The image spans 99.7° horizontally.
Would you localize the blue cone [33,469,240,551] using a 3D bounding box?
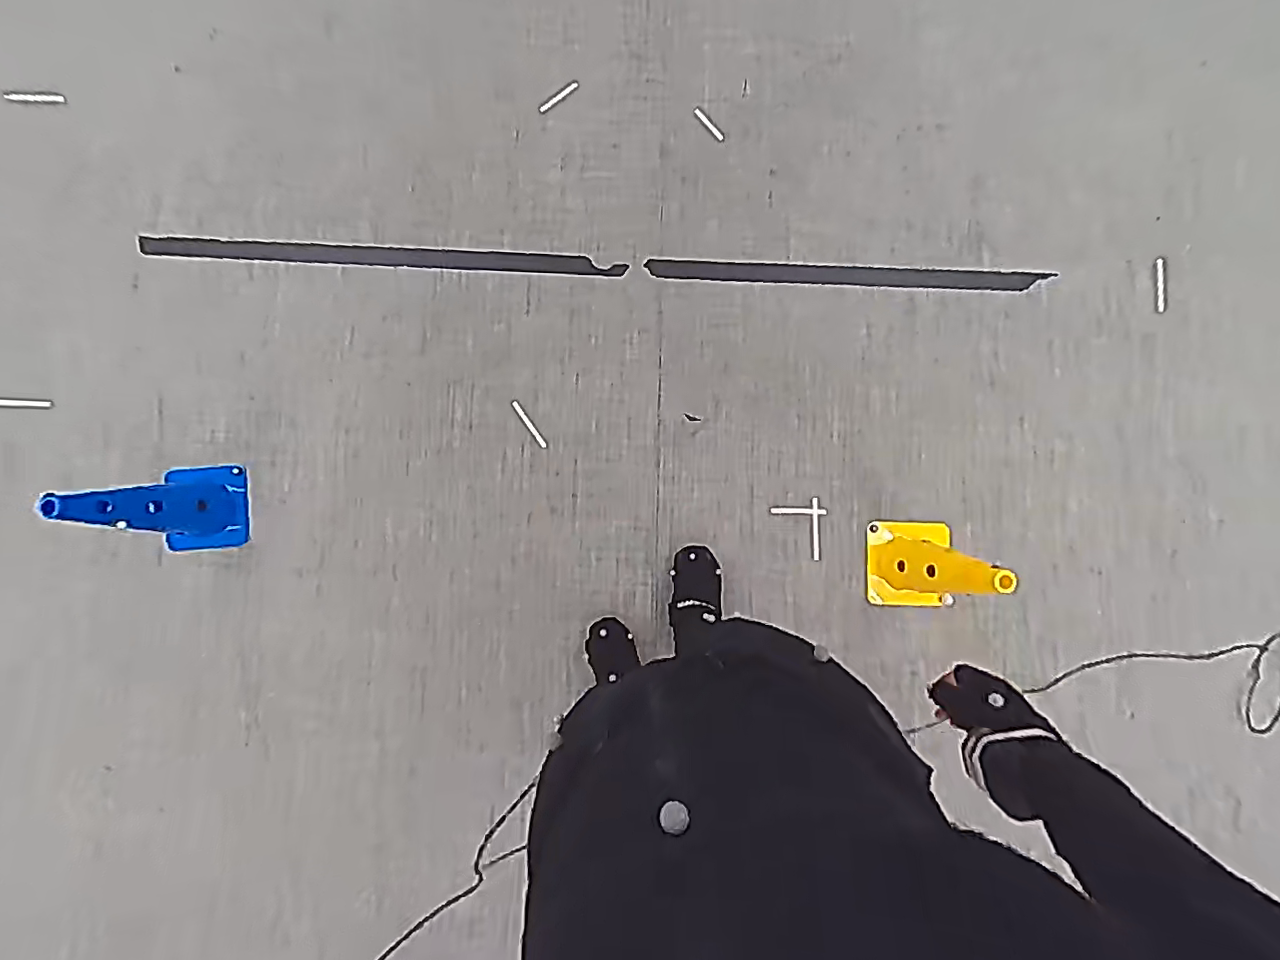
[{"bbox_3d":[-1.071,0.063,1.154,0.193,0.380,0.192,-4,86,0],"label":"blue cone"}]
